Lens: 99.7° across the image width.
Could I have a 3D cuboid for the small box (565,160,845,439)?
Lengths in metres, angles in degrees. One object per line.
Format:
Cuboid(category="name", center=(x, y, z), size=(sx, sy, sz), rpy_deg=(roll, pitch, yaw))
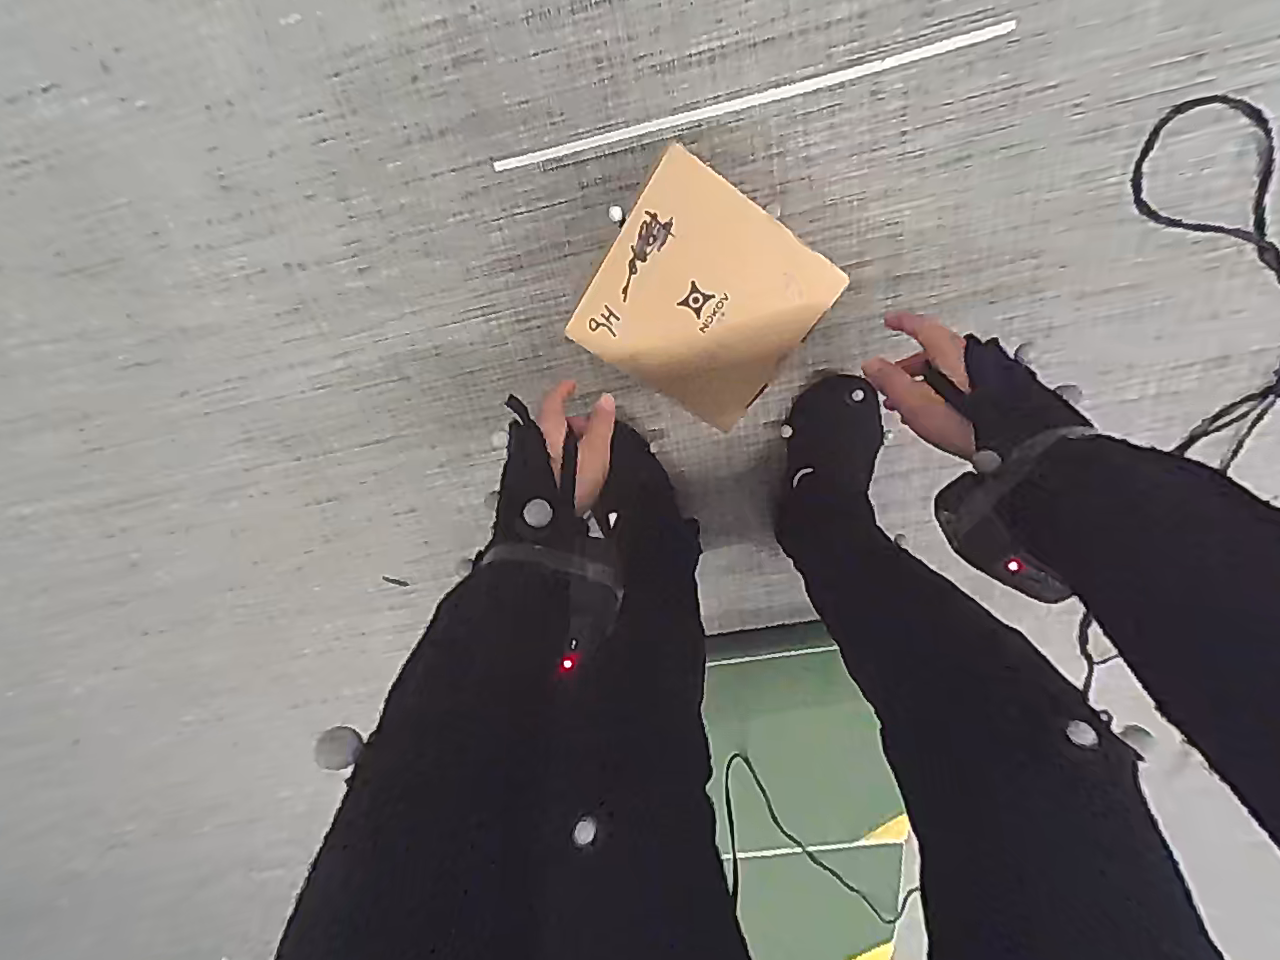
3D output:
Cuboid(category="small box", center=(0.051, -0.176, 0.513), size=(0.179, 0.176, 0.168), rpy_deg=(29, 116, -17))
